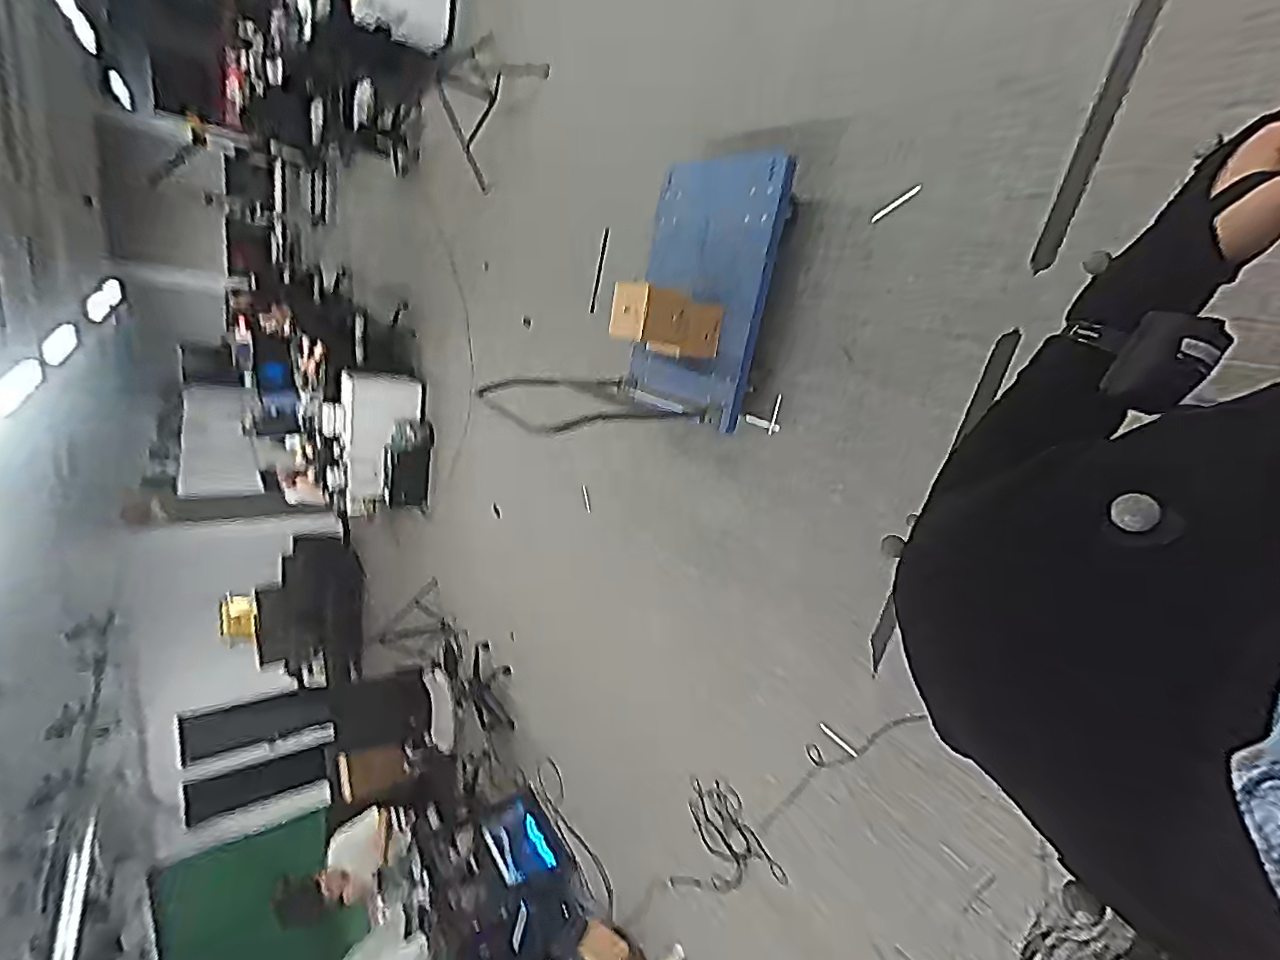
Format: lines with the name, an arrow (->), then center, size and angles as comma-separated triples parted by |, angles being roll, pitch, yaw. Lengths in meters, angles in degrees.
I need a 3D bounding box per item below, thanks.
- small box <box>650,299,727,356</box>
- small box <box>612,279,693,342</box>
small box -> 0.162, -0.516, 1.818 | 0.179, 0.176, 0.168 | 25, 112, 47
small box -> 0.038, -0.534, 1.708 | 0.179, 0.176, 0.168 | 26, 113, 47
